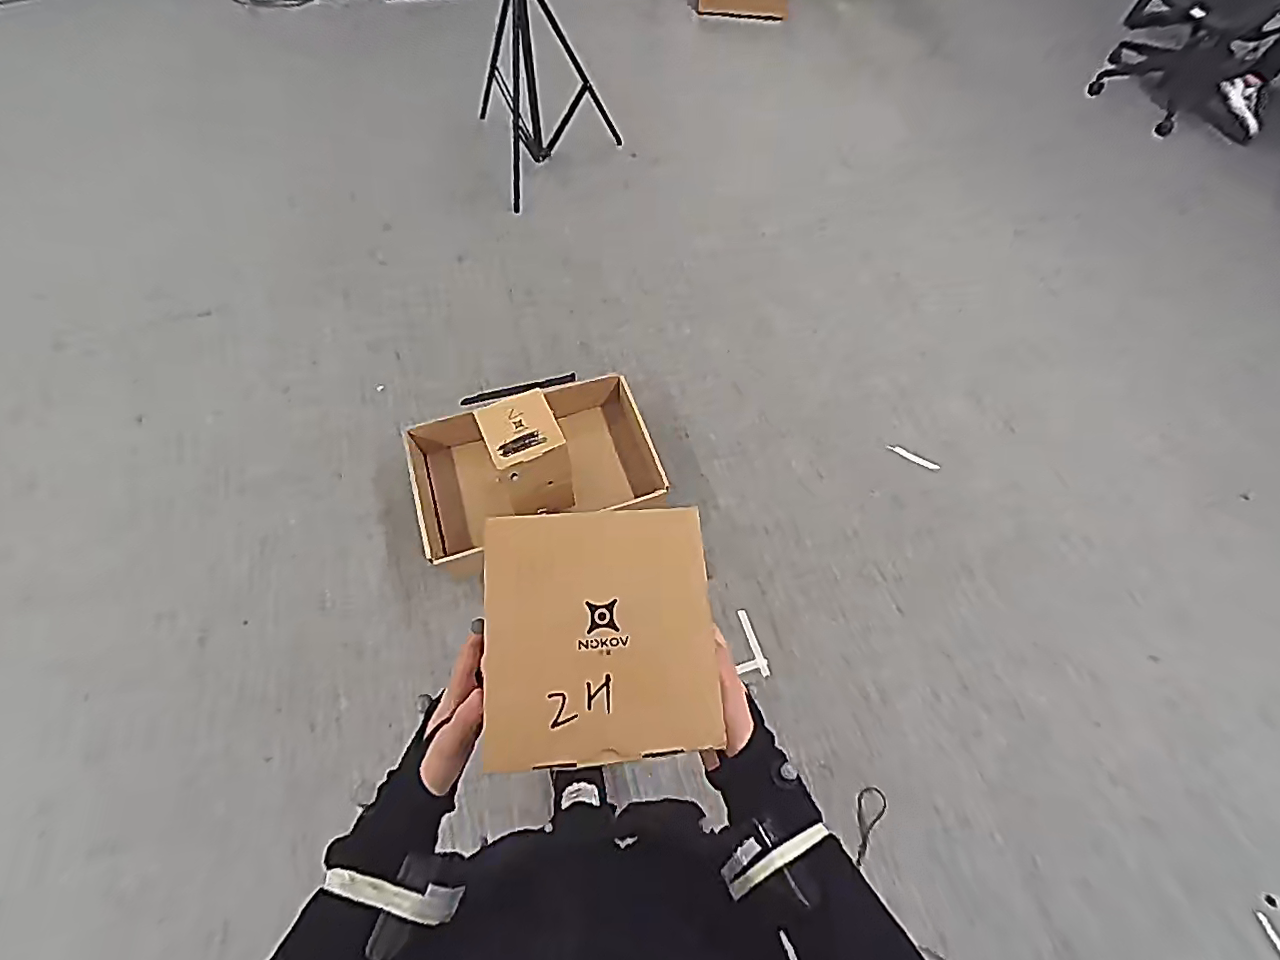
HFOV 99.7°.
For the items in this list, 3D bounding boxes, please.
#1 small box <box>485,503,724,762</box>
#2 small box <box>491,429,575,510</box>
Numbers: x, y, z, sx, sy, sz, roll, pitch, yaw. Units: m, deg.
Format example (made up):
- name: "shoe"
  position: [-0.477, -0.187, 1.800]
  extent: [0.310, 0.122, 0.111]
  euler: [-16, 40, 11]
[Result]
- name: "small box"
  position: [-0.038, 0.129, 0.468]
  extent: [0.168, 0.176, 0.179]
  euler: [-2, 72, -8]
- name: "small box"
  position: [-0.284, -0.002, 1.452]
  extent: [0.168, 0.176, 0.179]
  euler: [-22, 68, -13]
